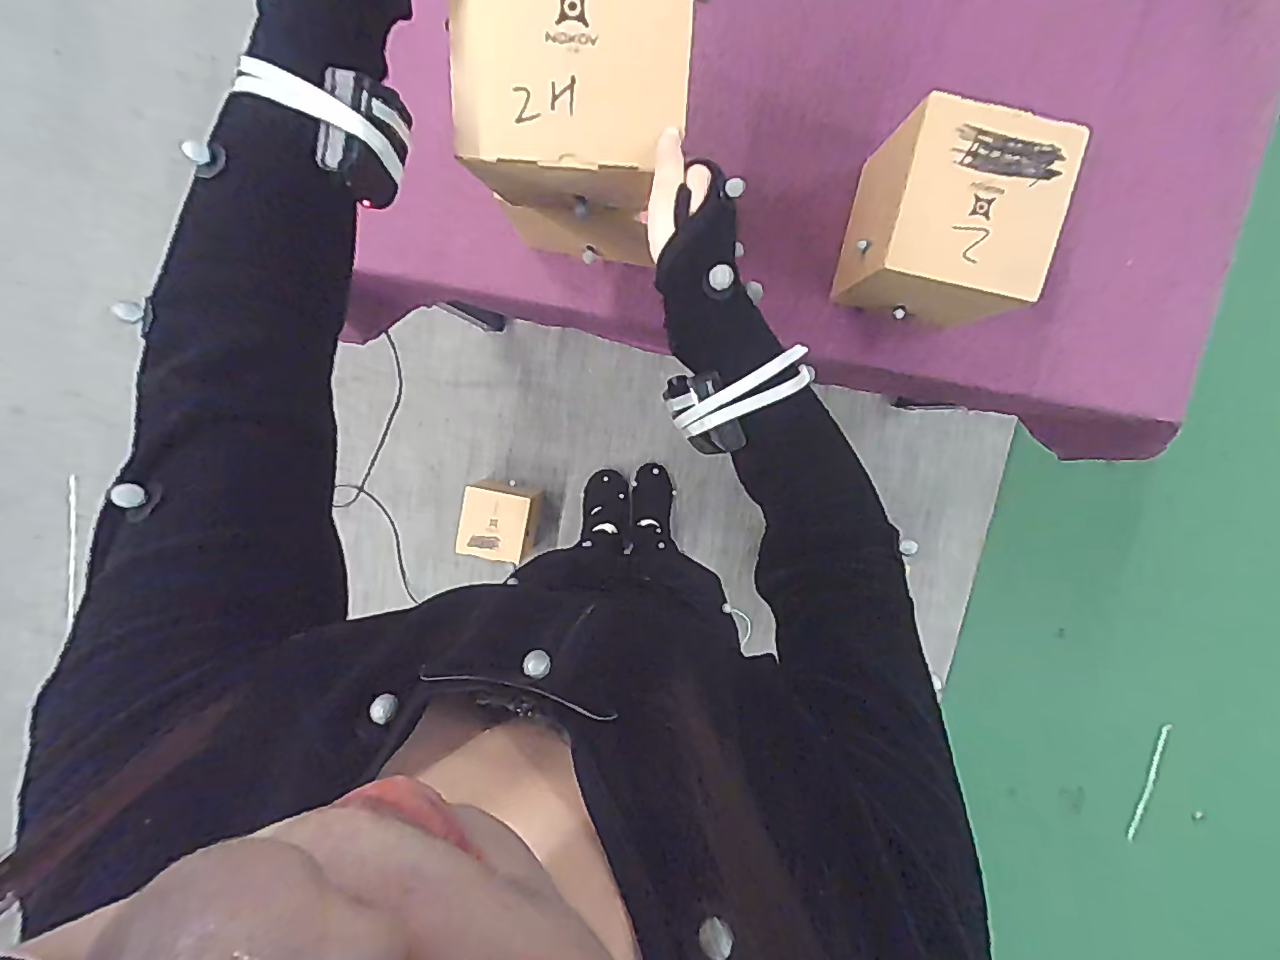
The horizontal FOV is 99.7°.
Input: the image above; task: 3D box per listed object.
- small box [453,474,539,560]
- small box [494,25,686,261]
[{"bbox_3d":[-0.372,0.092,1.423,0.168,0.176,0.179,11,97,-2],"label":"small box"},{"bbox_3d":[-0.053,-0.365,0.623,0.179,0.176,0.168,9,97,-2],"label":"small box"}]
